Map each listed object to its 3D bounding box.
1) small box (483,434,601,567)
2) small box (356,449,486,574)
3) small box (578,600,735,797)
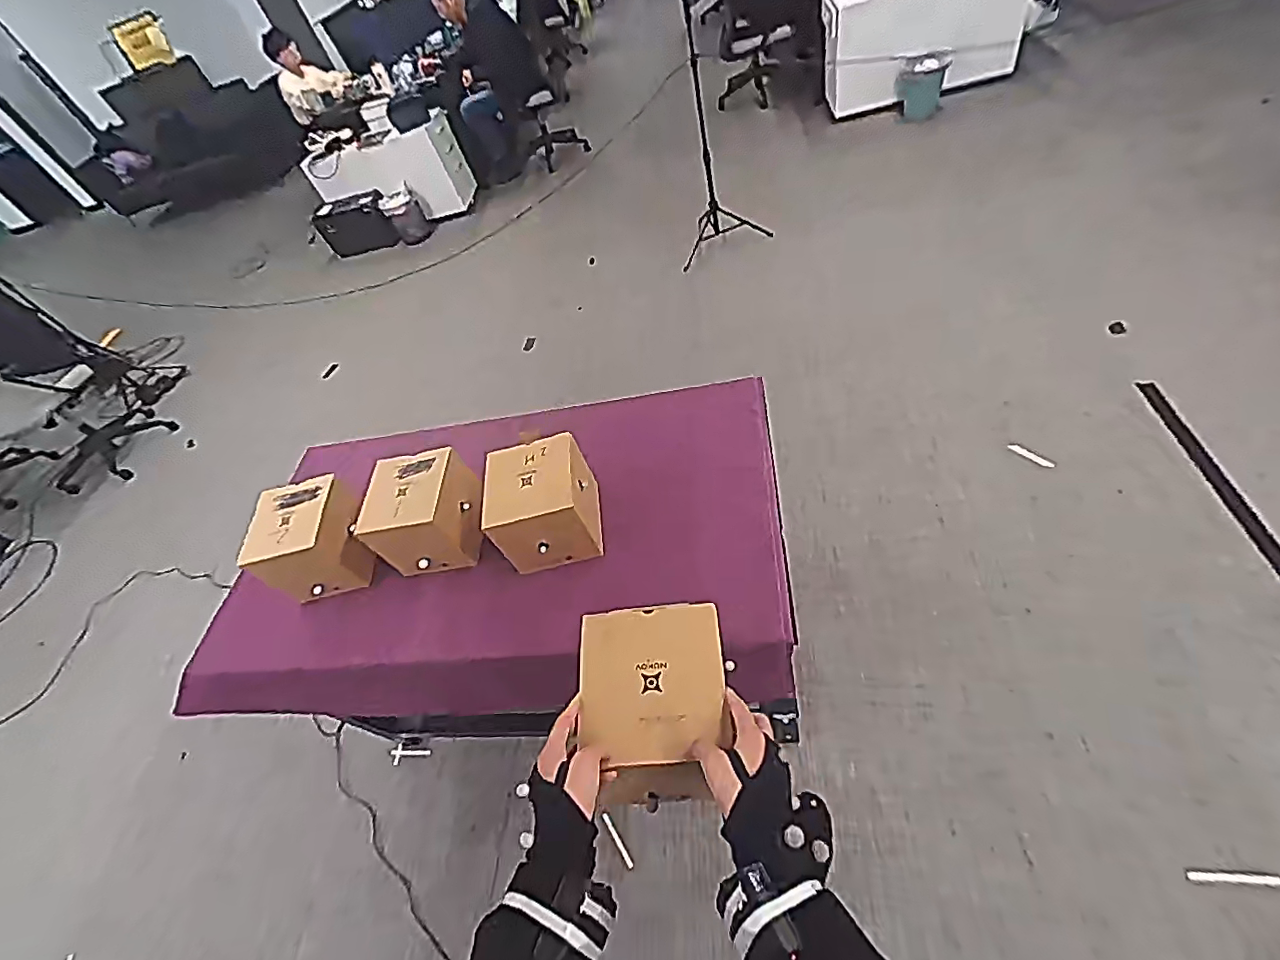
[{"bbox_3d":[-0.176,0.047,1.015,0.168,0.176,0.179,-14,50,7],"label":"small box"},{"bbox_3d":[-0.420,0.066,1.080,0.168,0.176,0.179,-10,52,11],"label":"small box"},{"bbox_3d":[0.025,0.273,0.673,0.168,0.176,0.179,-6,46,5],"label":"small box"}]
